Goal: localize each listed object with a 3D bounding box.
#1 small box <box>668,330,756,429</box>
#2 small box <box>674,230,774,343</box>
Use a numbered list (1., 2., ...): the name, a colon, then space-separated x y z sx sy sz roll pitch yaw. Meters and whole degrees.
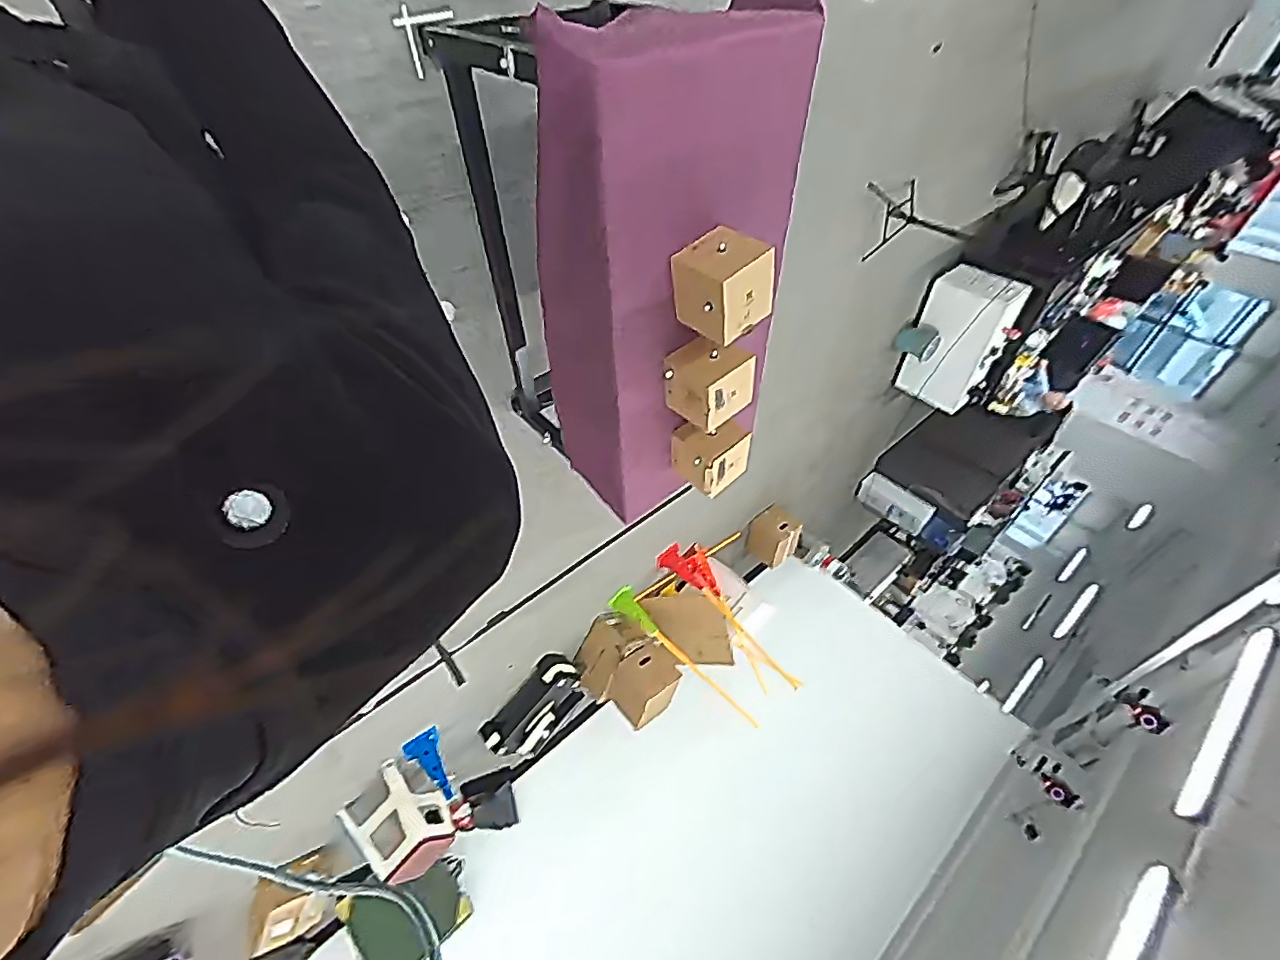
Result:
1. small box: 0.188 -0.274 1.458 0.179 0.176 0.168 -37 146 -22
2. small box: 0.194 -0.462 1.271 0.168 0.176 0.179 -38 146 -18
